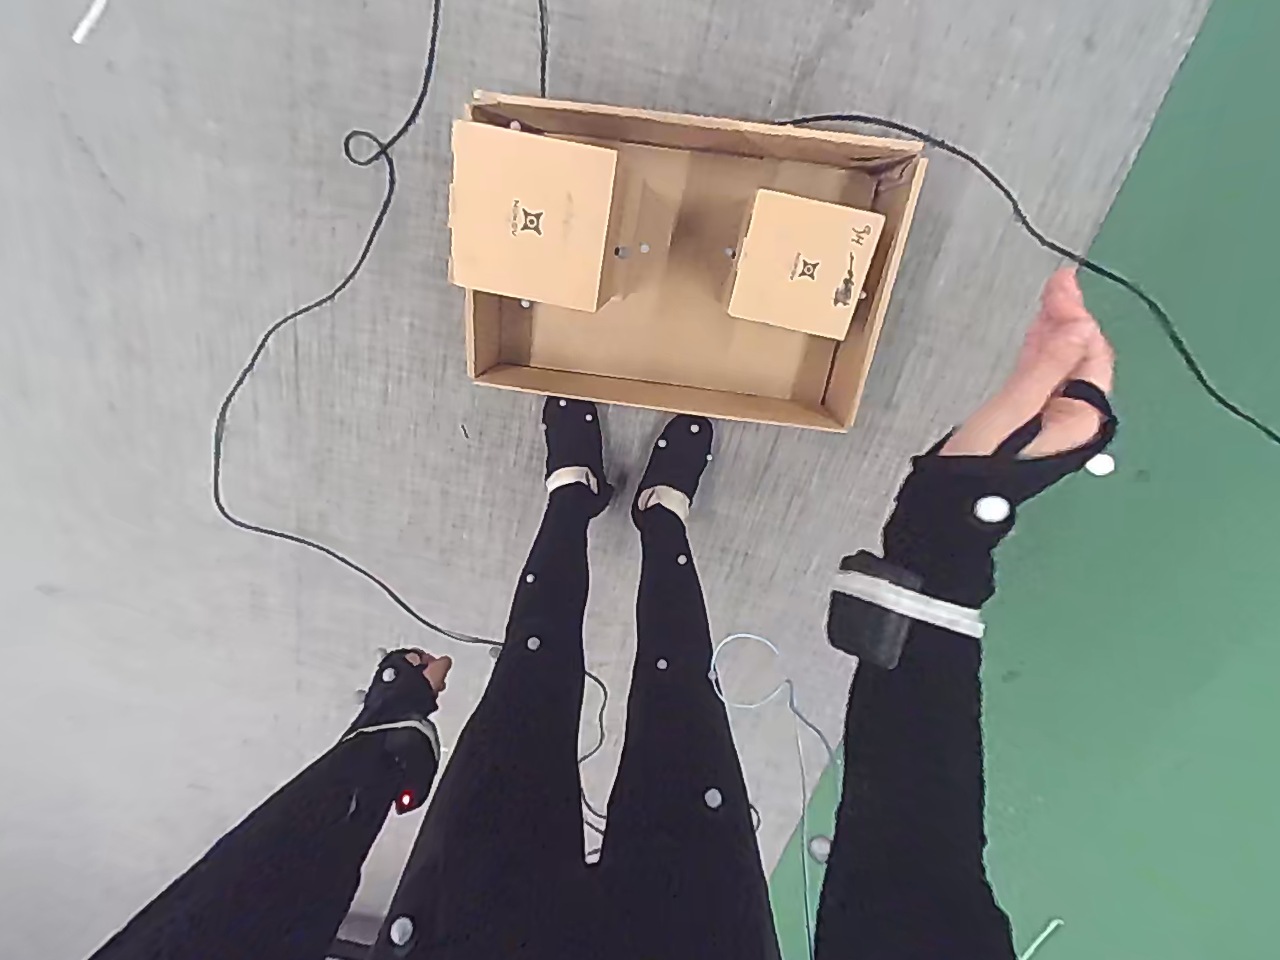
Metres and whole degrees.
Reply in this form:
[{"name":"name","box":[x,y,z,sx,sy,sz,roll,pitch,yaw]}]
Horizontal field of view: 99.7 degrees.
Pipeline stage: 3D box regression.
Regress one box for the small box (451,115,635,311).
[{"name":"small box","box":[-0.110,-0.315,0.661,0.179,0.176,0.168,12,114,-2]}]

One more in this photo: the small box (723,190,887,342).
[{"name":"small box","box":[0.230,-0.316,0.811,0.179,0.176,0.168,13,113,0]}]
